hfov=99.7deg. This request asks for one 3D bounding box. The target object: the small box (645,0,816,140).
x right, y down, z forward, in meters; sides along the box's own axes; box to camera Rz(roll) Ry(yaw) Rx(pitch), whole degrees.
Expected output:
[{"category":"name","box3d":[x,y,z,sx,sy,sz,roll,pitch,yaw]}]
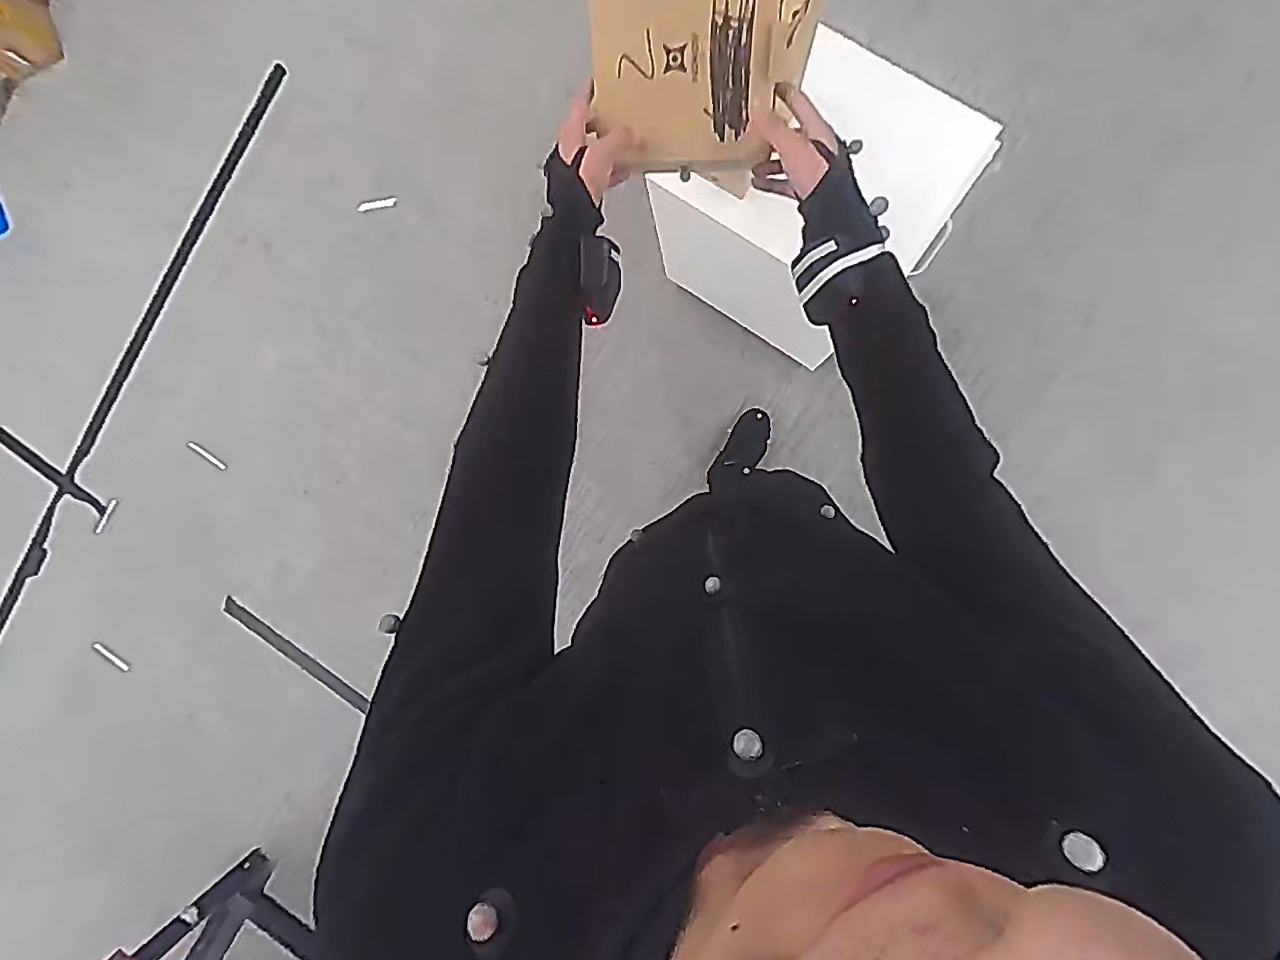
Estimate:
[{"category":"small box","box3d":[0.130,-0.624,0.758,0.179,0.176,0.168,34,95,5]}]

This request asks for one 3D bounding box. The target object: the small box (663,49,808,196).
[{"category":"small box","box3d":[0.155,-0.633,0.921,0.168,0.176,0.179,33,96,5]}]
